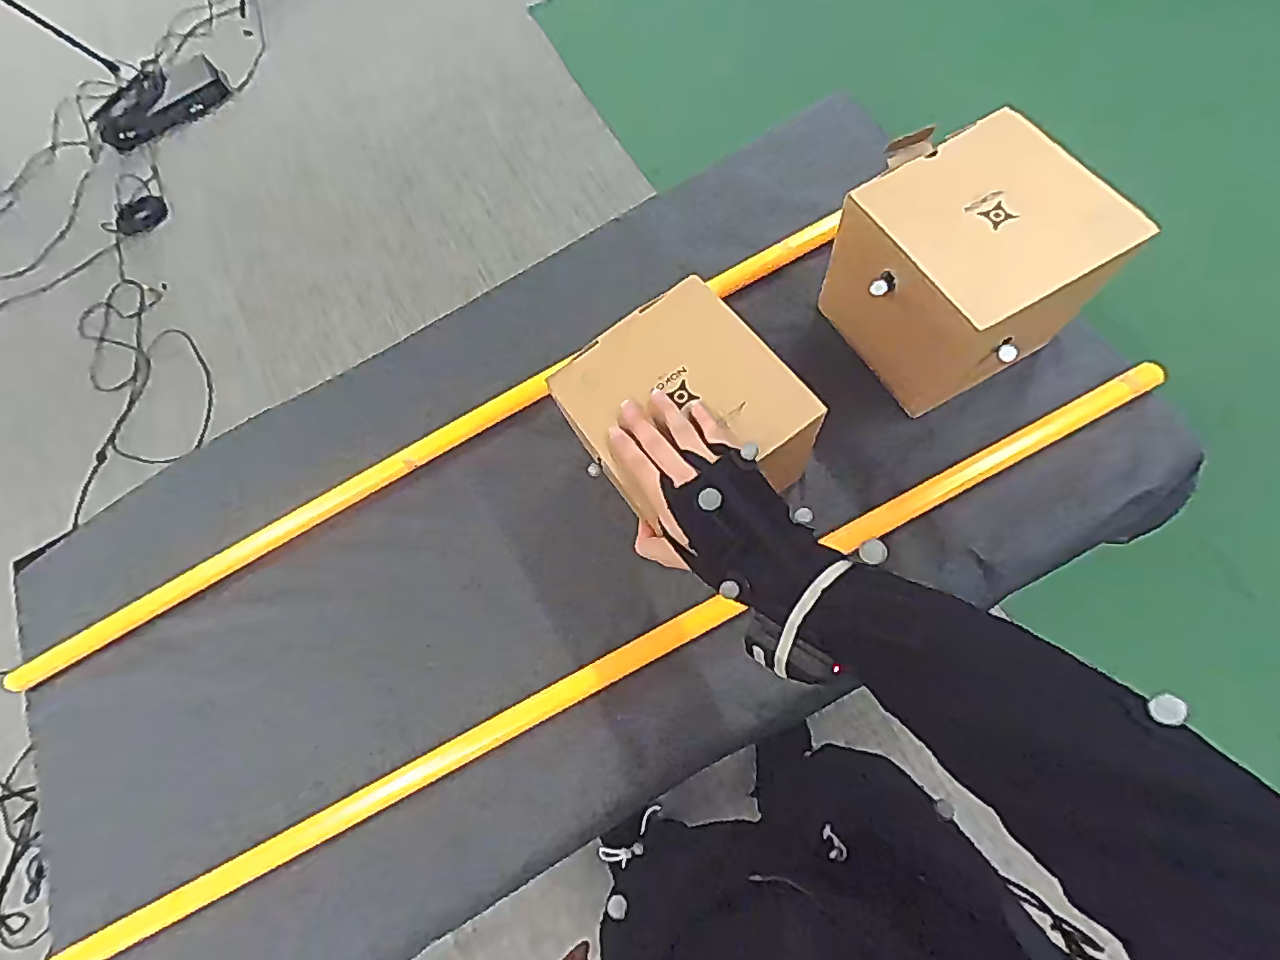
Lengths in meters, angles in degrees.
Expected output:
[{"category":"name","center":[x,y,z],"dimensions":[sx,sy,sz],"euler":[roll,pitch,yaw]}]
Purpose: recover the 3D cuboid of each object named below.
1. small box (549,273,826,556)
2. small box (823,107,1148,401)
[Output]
[{"category":"small box","center":[0.045,-0.050,0.519],"dimensions":[0.168,0.176,0.179],"euler":[-37,70,-3]},{"category":"small box","center":[0.304,-0.199,0.527],"dimensions":[0.168,0.176,0.179],"euler":[-30,69,-1]}]
